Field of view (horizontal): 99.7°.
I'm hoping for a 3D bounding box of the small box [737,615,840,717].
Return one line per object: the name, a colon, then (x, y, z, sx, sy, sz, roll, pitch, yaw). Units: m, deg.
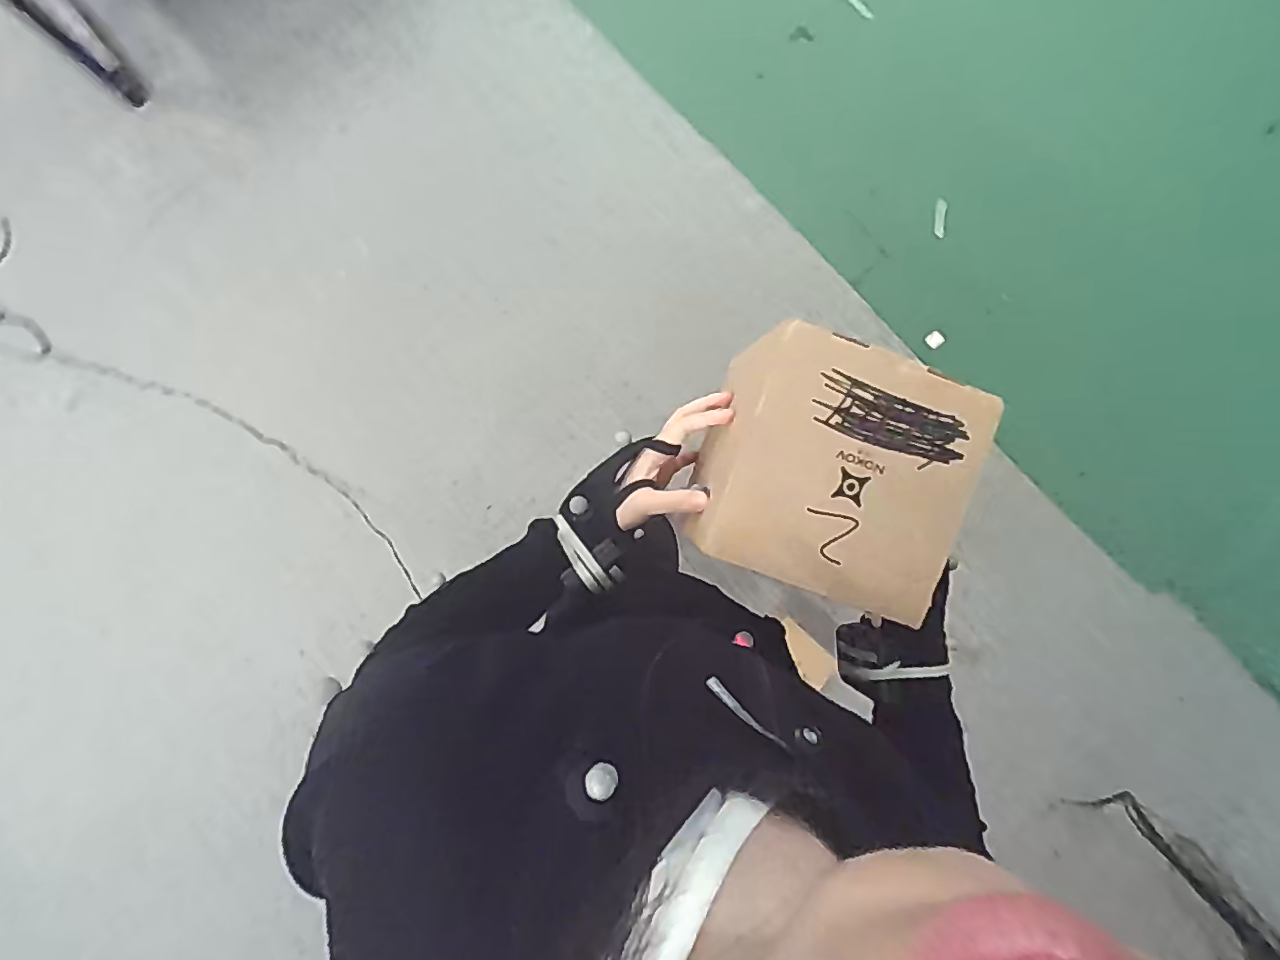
small box: (0.371, 0.466, 1.393, 0.179, 0.176, 0.168, 43, 87, 6)
